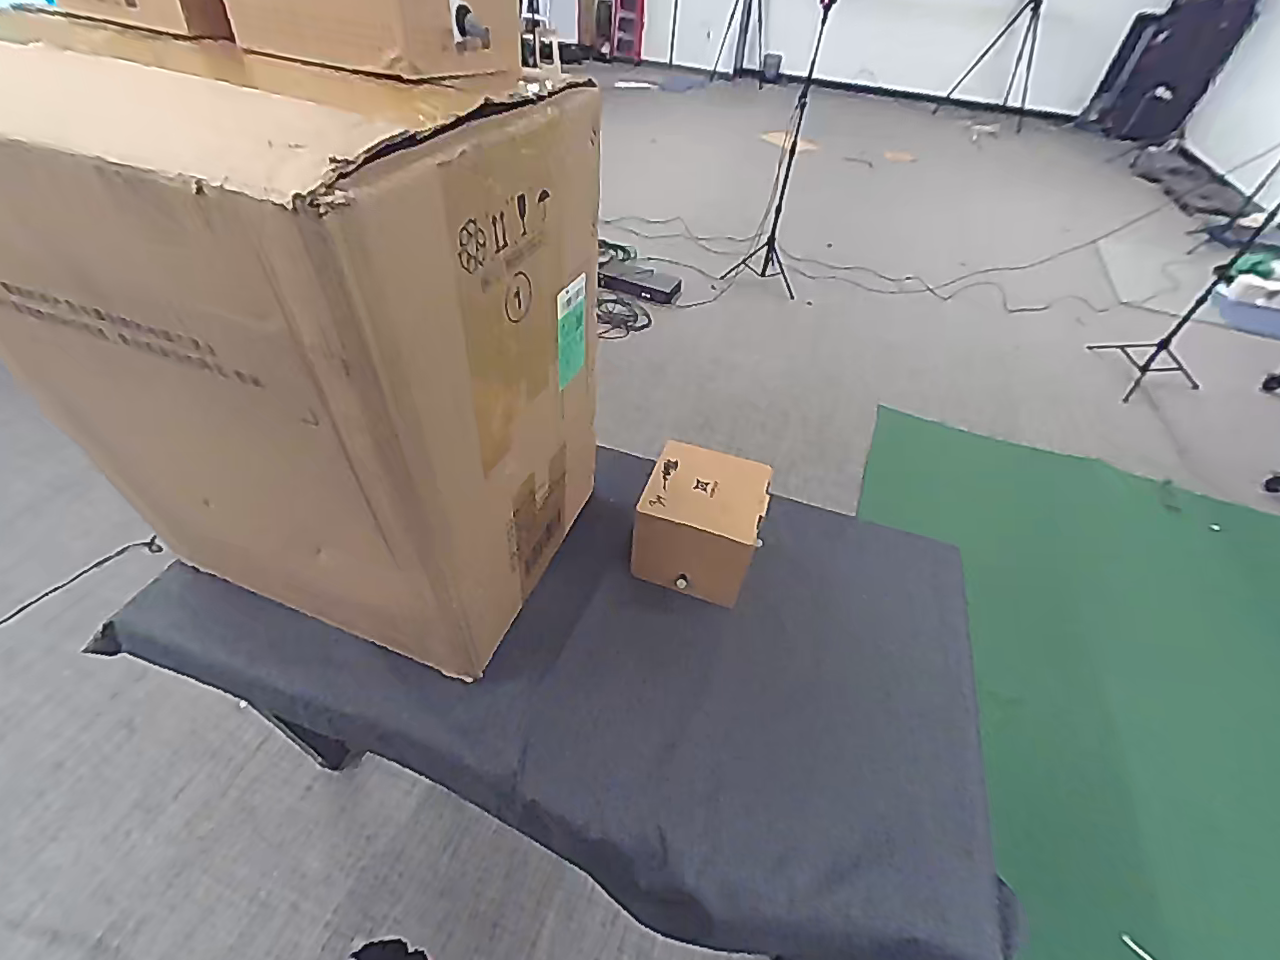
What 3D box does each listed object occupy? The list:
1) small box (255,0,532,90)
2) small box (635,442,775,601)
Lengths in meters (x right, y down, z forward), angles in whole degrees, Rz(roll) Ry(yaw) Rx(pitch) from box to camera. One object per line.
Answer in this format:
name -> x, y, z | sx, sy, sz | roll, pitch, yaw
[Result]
small box -> -0.204, -0.438, 0.446 | 0.179, 0.176, 0.168 | 19, 44, 11
small box -> 0.100, 0.071, 0.874 | 0.179, 0.176, 0.168 | 16, 47, 11
